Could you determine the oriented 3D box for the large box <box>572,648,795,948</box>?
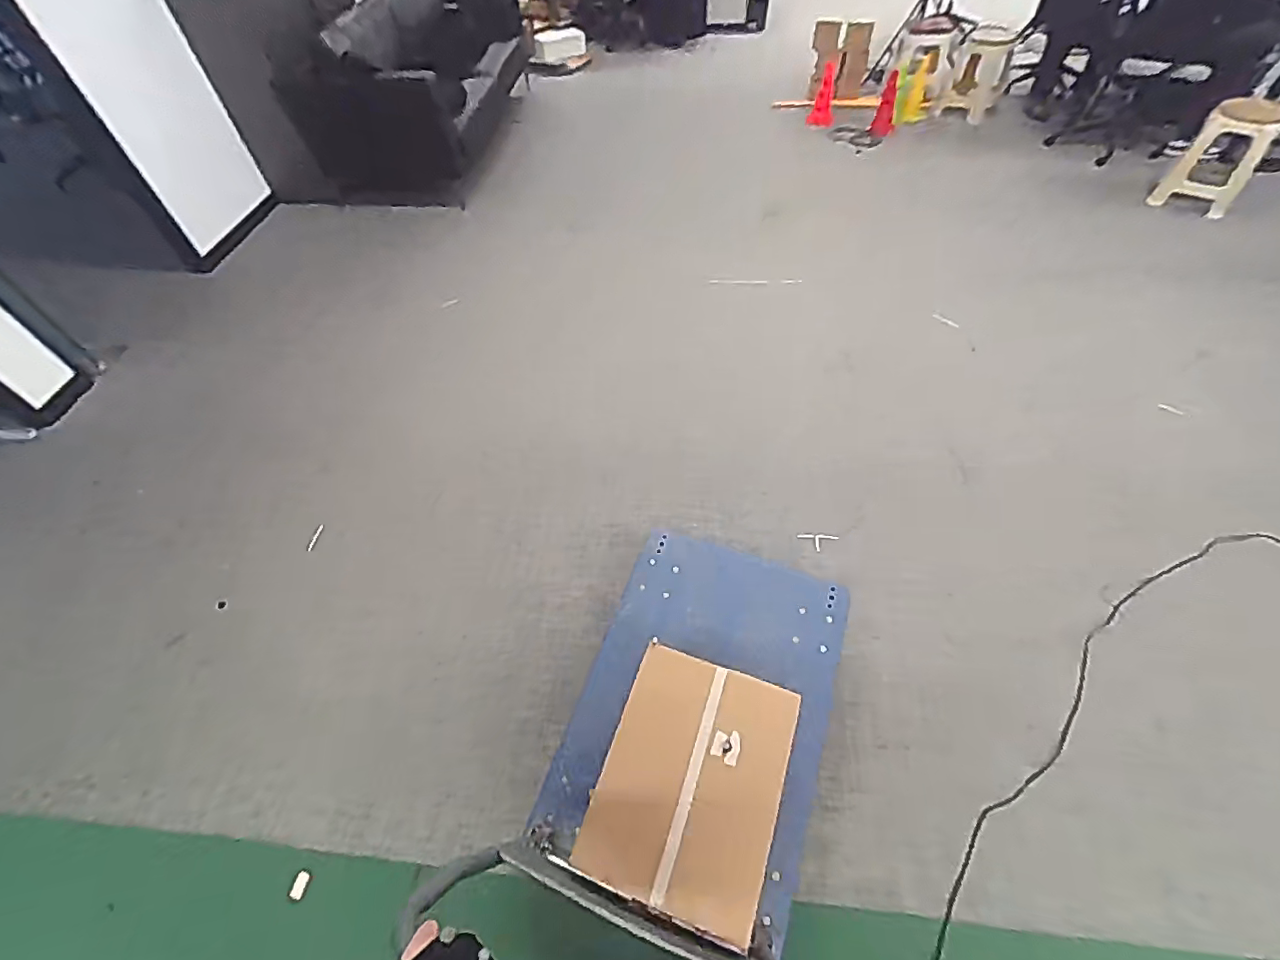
[{"bbox_3d":[0.100,0.624,1.098,0.320,0.320,0.408,16,58,14],"label":"large box"}]
